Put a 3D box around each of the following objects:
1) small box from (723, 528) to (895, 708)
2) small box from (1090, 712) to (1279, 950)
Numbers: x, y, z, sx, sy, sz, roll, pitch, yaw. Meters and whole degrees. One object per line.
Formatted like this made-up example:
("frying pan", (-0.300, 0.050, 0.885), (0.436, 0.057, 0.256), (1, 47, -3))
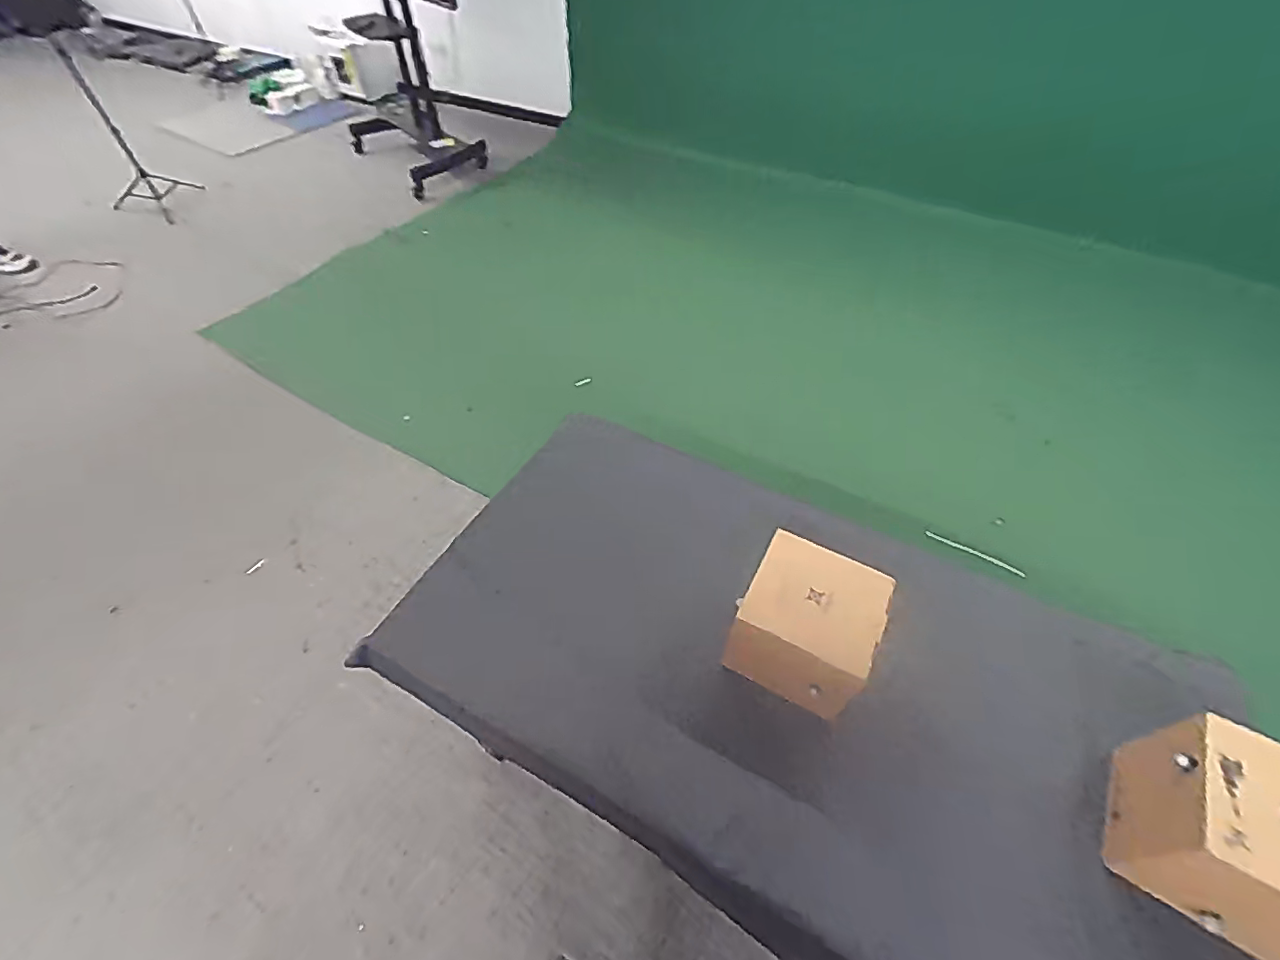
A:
("small box", (0.238, 0.207, 0.790), (0.179, 0.176, 0.168), (23, 53, 18))
("small box", (0.688, 0.412, 0.634), (0.179, 0.176, 0.168), (28, 56, 19))
